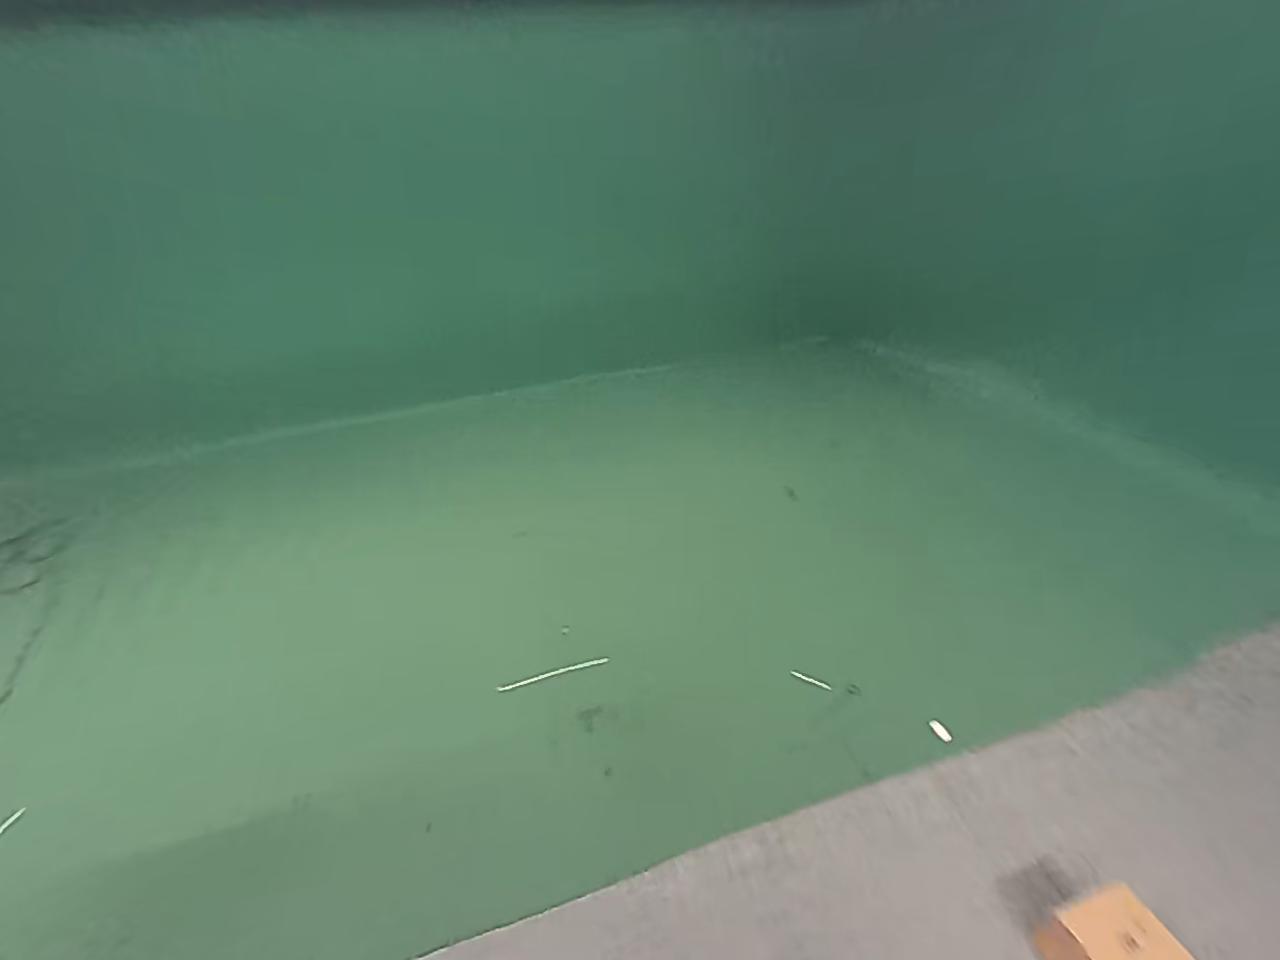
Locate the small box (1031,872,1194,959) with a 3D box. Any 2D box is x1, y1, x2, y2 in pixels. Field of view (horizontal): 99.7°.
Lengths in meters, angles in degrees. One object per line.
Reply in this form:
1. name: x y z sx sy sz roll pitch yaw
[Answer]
1. small box: 0.931 0.941 1.085 0.179 0.176 0.168 -13 35 -13
